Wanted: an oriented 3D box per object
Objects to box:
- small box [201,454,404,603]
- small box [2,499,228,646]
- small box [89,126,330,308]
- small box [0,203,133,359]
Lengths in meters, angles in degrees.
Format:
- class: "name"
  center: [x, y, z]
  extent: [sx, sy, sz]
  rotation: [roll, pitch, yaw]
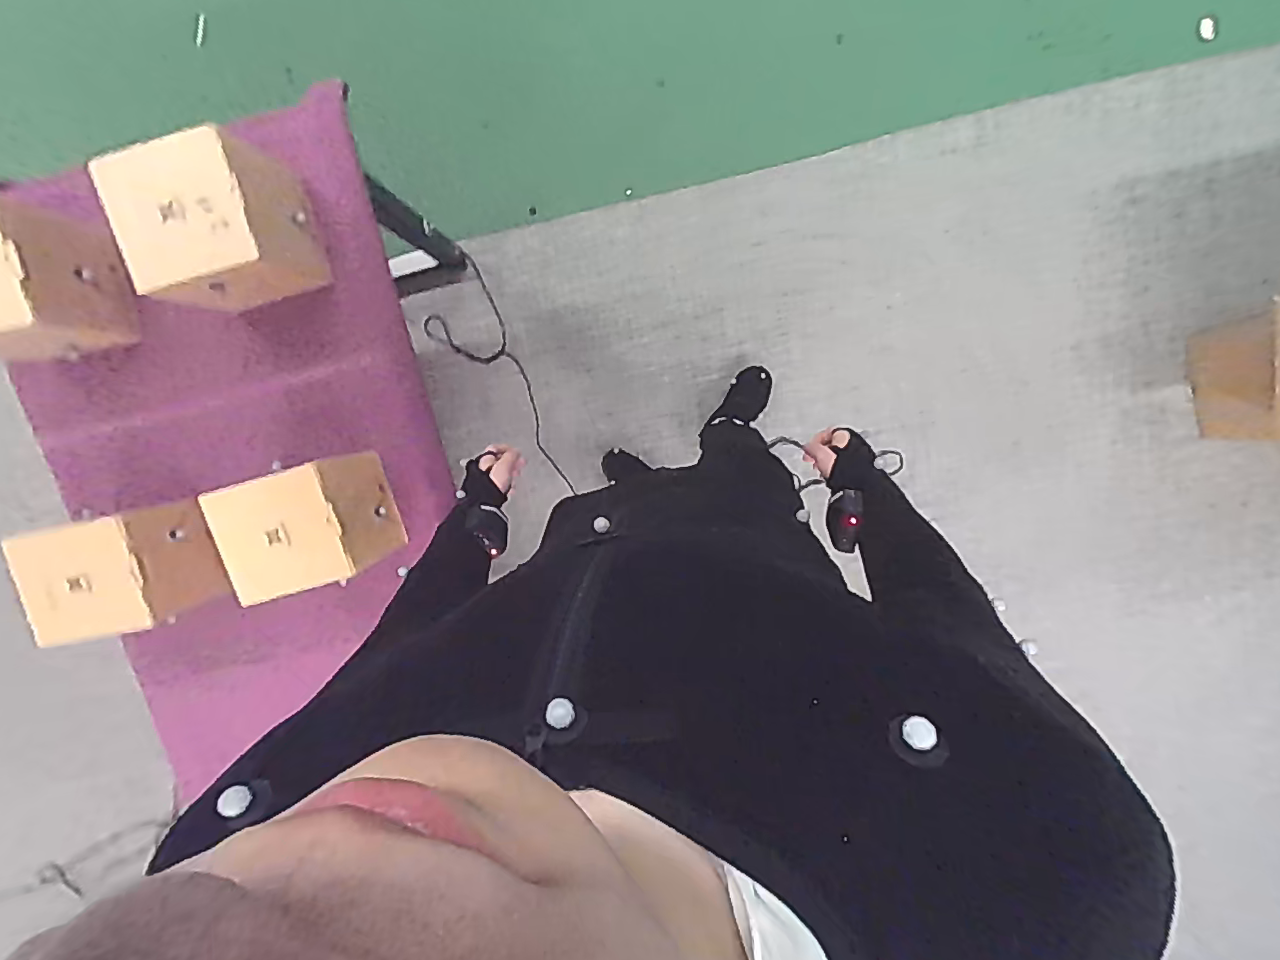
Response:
- class: "small box"
  center: [-0.499, 0.064, 0.826]
  extent: [0.179, 0.176, 0.168]
  rotation: [-16, 97, 3]
- class: "small box"
  center: [-0.789, 0.133, 0.839]
  extent: [0.179, 0.176, 0.168]
  rotation: [-11, 97, 2]
- class: "small box"
  center: [-0.587, -0.353, 0.762]
  extent: [0.179, 0.176, 0.168]
  rotation: [-14, 99, 3]
- class: "small box"
  center: [-0.893, -0.276, 0.777]
  extent: [0.179, 0.176, 0.168]
  rotation: [-13, 98, 0]
